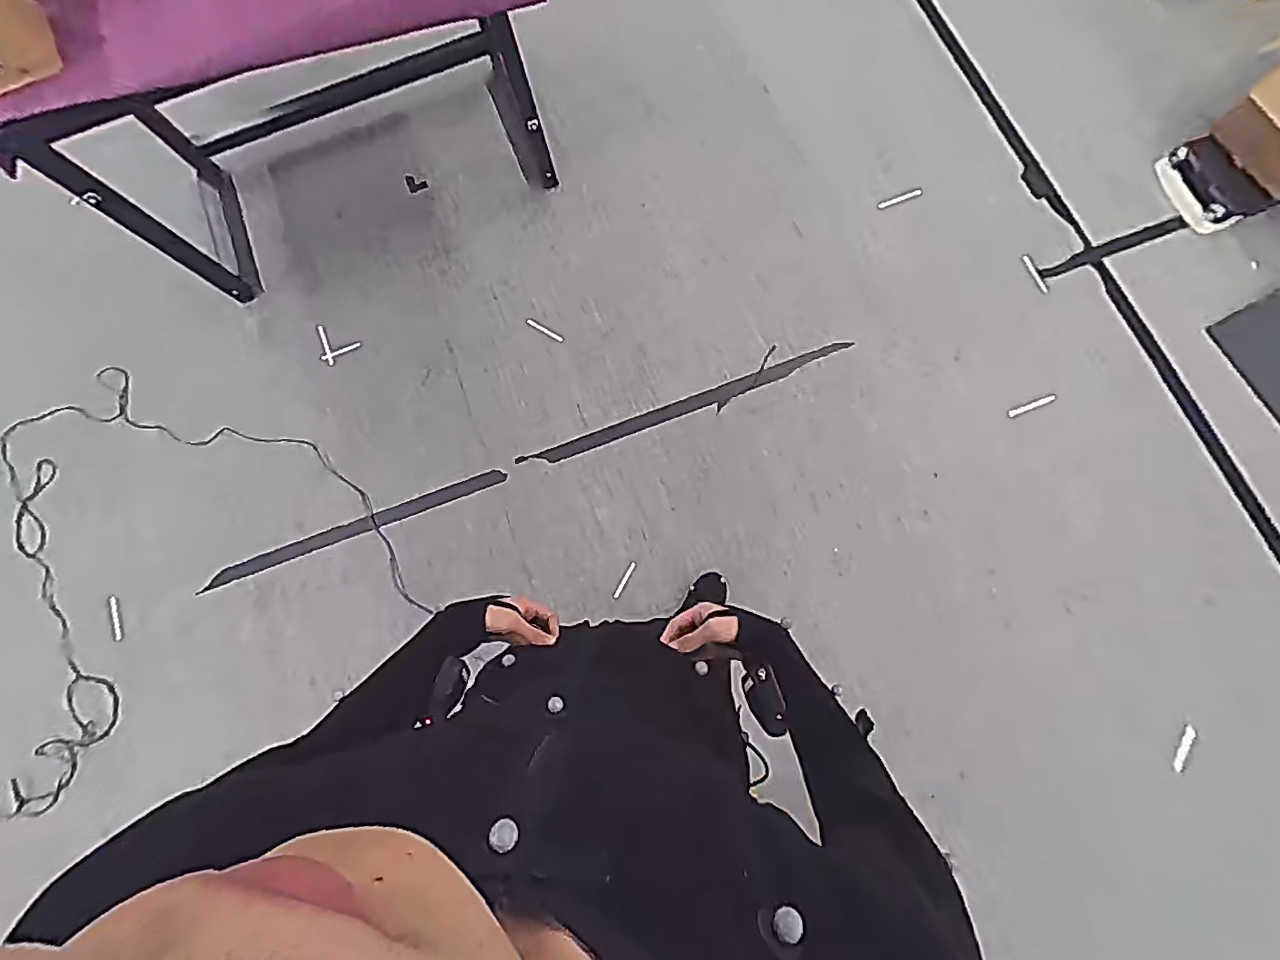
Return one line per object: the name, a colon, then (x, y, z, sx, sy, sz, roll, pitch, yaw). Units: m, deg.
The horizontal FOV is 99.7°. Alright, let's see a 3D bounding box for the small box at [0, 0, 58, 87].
small box: (-1.371, -0.961, 1.109, 0.168, 0.176, 0.179, -24, 80, -3)
